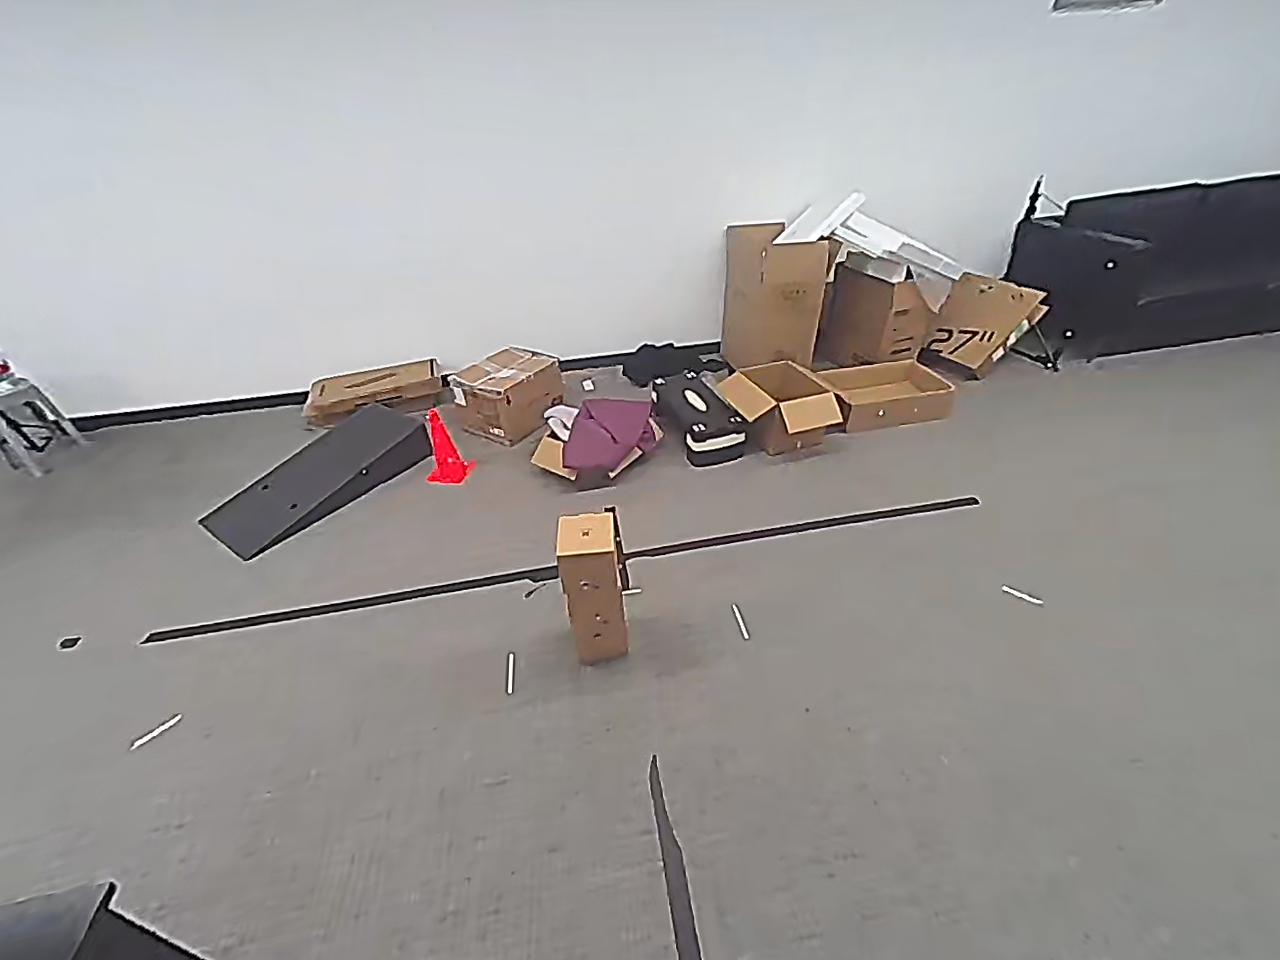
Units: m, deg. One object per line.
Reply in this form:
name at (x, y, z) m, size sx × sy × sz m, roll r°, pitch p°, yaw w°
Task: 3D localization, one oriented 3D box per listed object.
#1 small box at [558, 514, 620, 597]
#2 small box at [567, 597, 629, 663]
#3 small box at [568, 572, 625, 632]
small box at (-0.151, 0.226, 1.622) m, size 0.168 × 0.176 × 0.179 m, roll -6°, pitch 36°, yaw -2°
small box at (-0.140, 0.489, 1.816) m, size 0.179 × 0.176 × 0.168 m, roll -10°, pitch 36°, yaw -10°
small box at (-0.143, 0.354, 1.721) m, size 0.168 × 0.176 × 0.179 m, roll -8°, pitch 36°, yaw -6°
